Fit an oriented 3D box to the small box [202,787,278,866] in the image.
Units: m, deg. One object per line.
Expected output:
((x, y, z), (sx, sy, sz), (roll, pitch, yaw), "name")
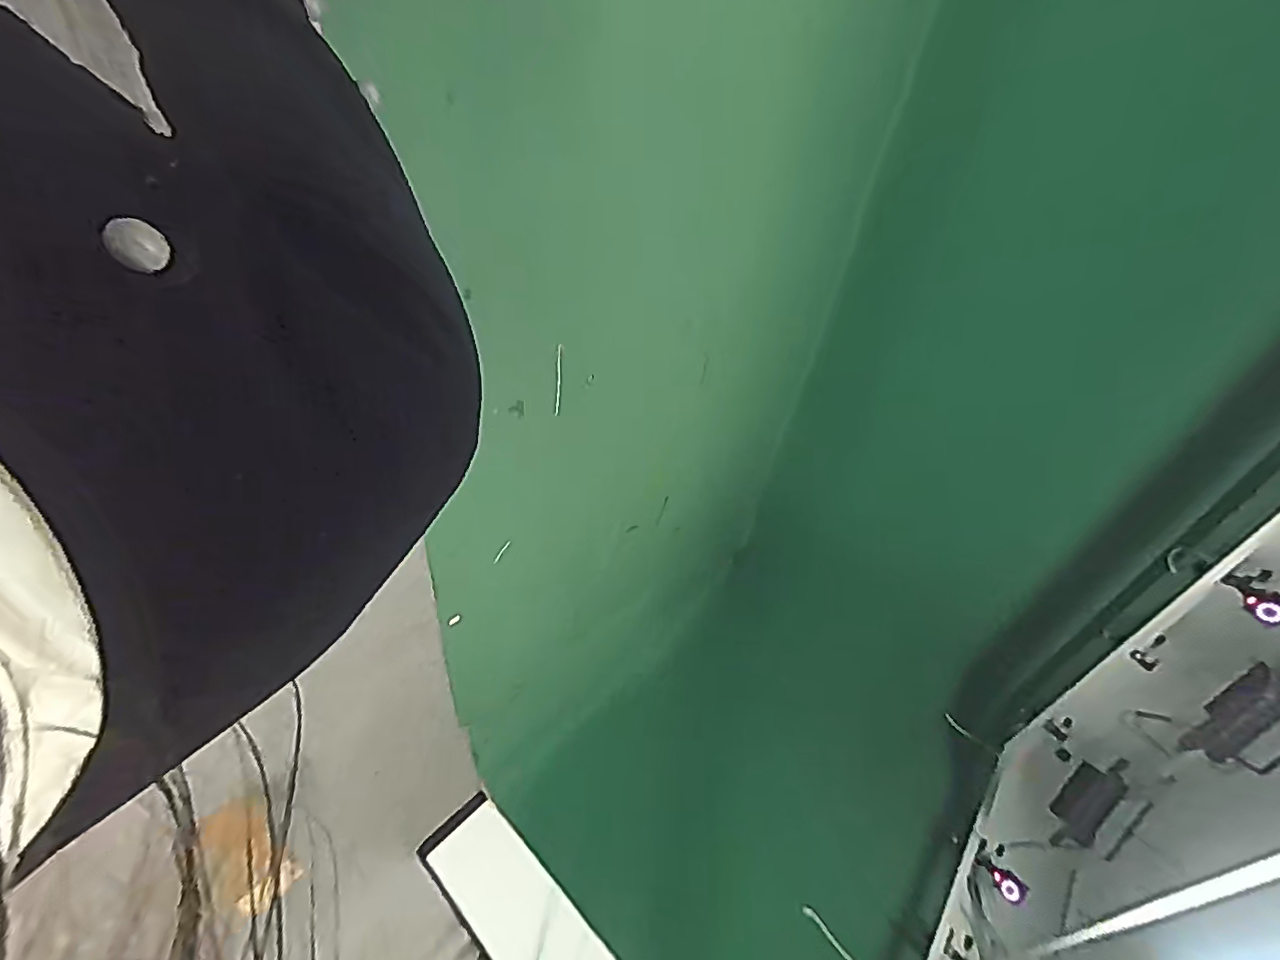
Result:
((-1.450, 1.272, 1.965), (0.179, 0.176, 0.168), (-34, 145, -38), "small box")

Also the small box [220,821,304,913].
((-1.326, 1.348, 1.889), (0.179, 0.176, 0.168), (-34, 145, -36), "small box")
